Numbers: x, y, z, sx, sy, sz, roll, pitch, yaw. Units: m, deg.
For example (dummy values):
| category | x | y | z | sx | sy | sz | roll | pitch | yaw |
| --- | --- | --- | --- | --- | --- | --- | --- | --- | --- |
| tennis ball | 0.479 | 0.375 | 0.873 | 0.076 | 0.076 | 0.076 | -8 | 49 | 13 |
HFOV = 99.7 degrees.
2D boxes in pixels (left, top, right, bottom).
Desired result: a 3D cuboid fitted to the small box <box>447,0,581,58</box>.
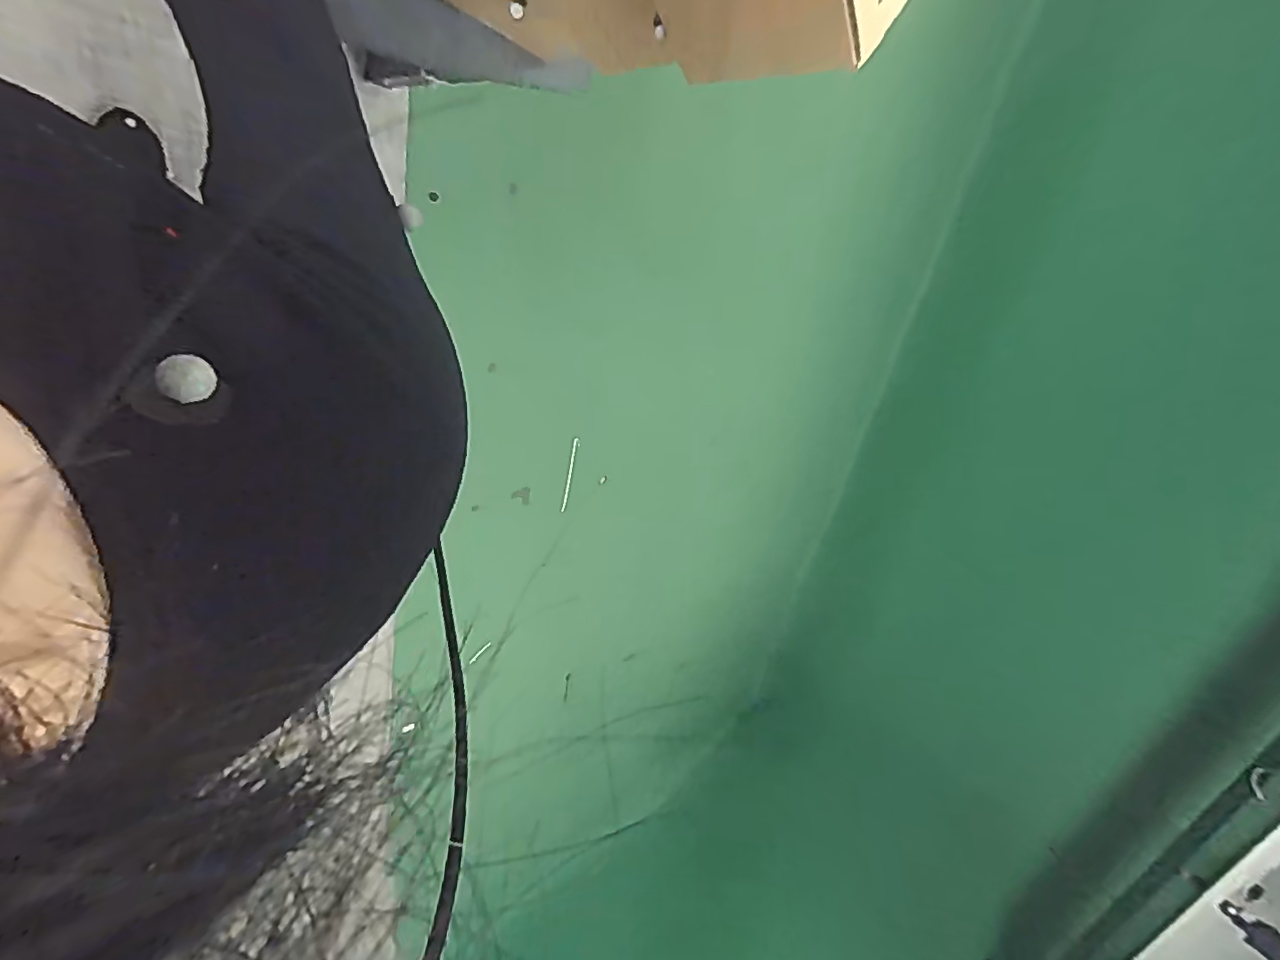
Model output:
| category | x | y | z | sx | sy | sz | roll | pitch | yaw |
| --- | --- | --- | --- | --- | --- | --- | --- | --- | --- |
| small box | -0.105 | -0.579 | 0.567 | 0.179 | 0.176 | 0.168 | -3 | 115 | -44 |
